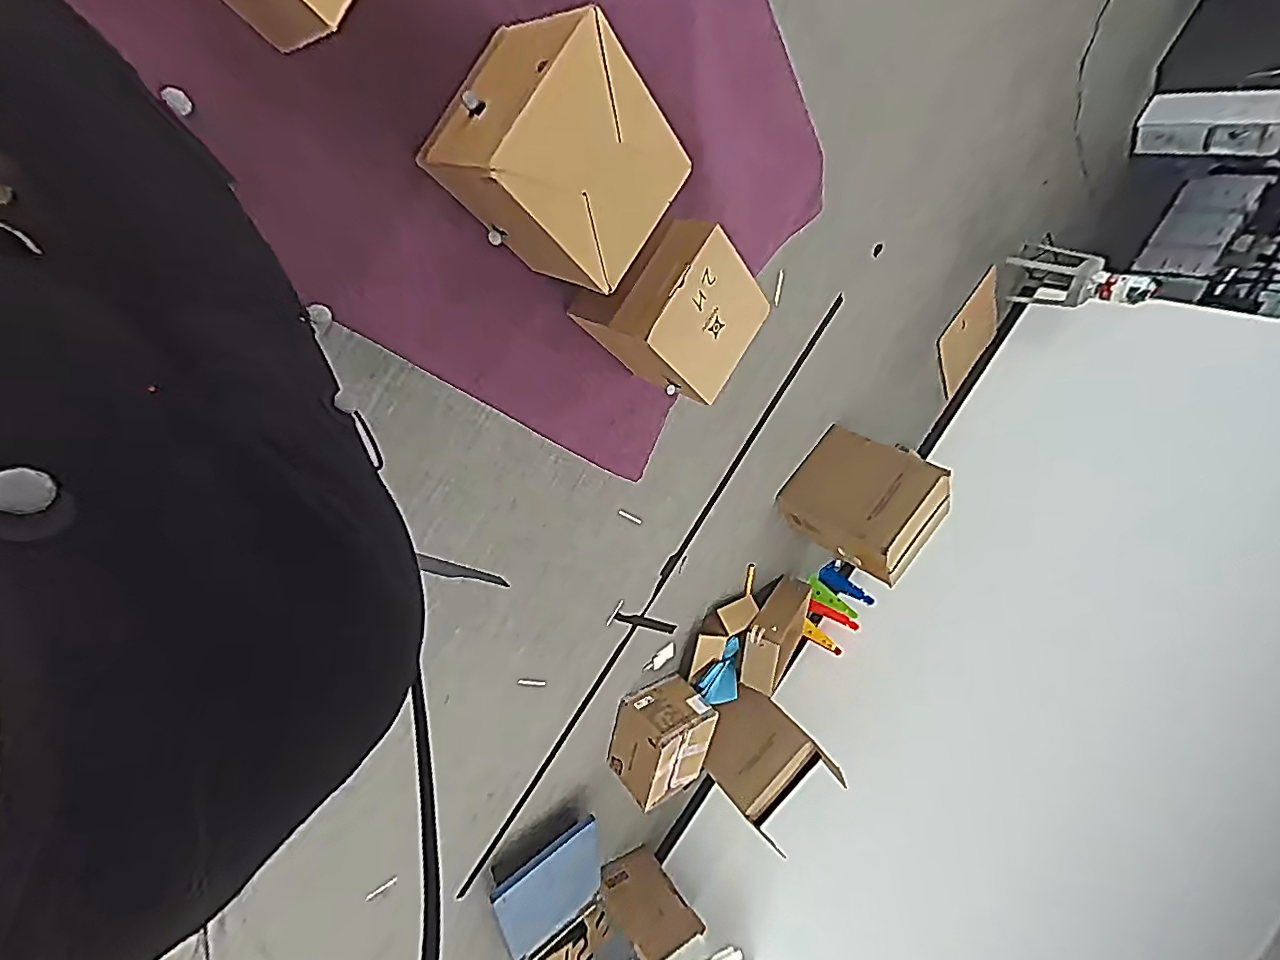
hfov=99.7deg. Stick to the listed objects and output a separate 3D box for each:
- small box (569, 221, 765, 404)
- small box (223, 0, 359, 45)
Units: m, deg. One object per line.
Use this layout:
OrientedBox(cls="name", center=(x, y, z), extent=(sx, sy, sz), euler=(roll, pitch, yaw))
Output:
OrientedBox(cls="small box", center=(0.038, -0.237, 0.757), extent=(0.179, 0.176, 0.168), euler=(33, 88, -50))
OrientedBox(cls="small box", center=(-0.252, -0.433, 0.350), extent=(0.179, 0.176, 0.168), euler=(-56, 140, 1))
